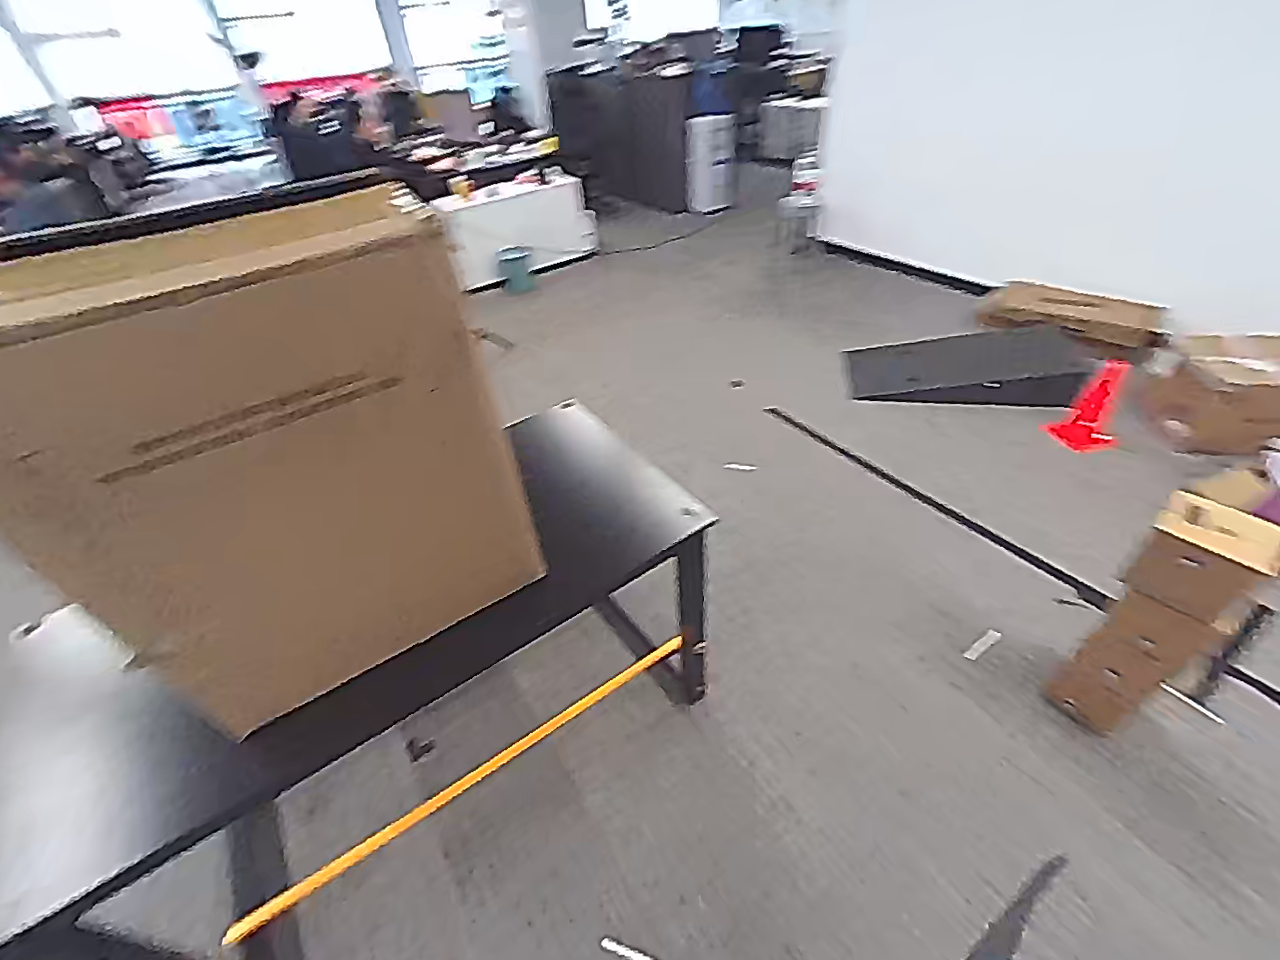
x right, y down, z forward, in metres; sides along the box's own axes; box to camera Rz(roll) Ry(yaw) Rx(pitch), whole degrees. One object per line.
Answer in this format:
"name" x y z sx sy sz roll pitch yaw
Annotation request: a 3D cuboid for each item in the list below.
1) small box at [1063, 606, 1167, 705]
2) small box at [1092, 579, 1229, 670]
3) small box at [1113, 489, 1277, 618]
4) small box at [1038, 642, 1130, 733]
"small box" 1.195 0.417 1.337 0.179 0.176 0.168 -29 45 -24
"small box" 1.181 0.291 1.231 0.179 0.176 0.168 -32 46 -28
"small box" 1.155 0.155 1.139 0.168 0.176 0.179 -31 46 -28
"small box" 1.218 0.533 1.452 0.179 0.176 0.168 -30 45 -24
